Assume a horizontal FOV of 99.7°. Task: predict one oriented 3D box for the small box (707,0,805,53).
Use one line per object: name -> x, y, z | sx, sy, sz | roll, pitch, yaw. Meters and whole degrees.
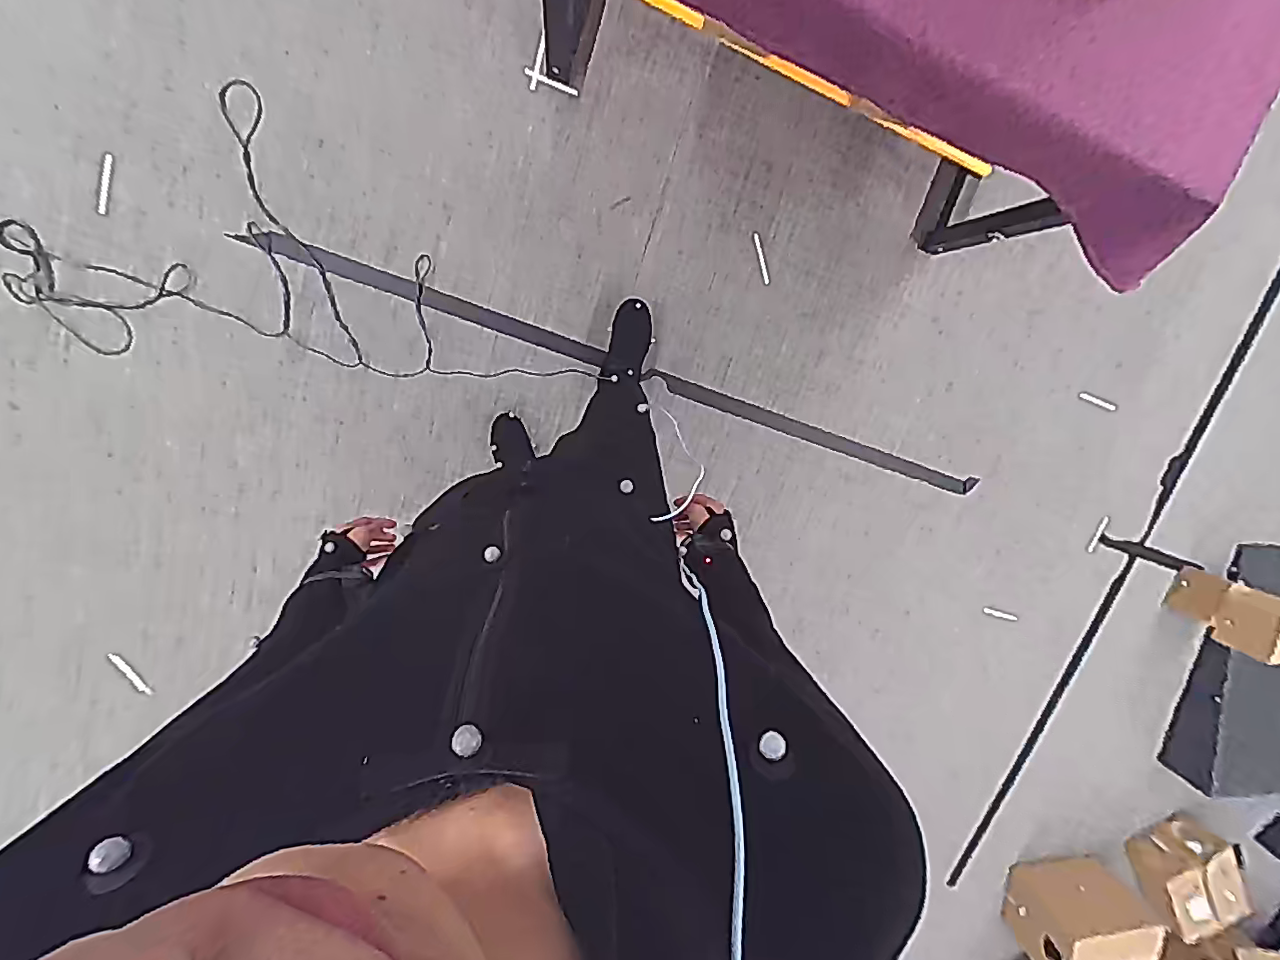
small box -> 0.264, -1.091, 1.186 | 0.179, 0.176, 0.168 | 14, 102, -14
